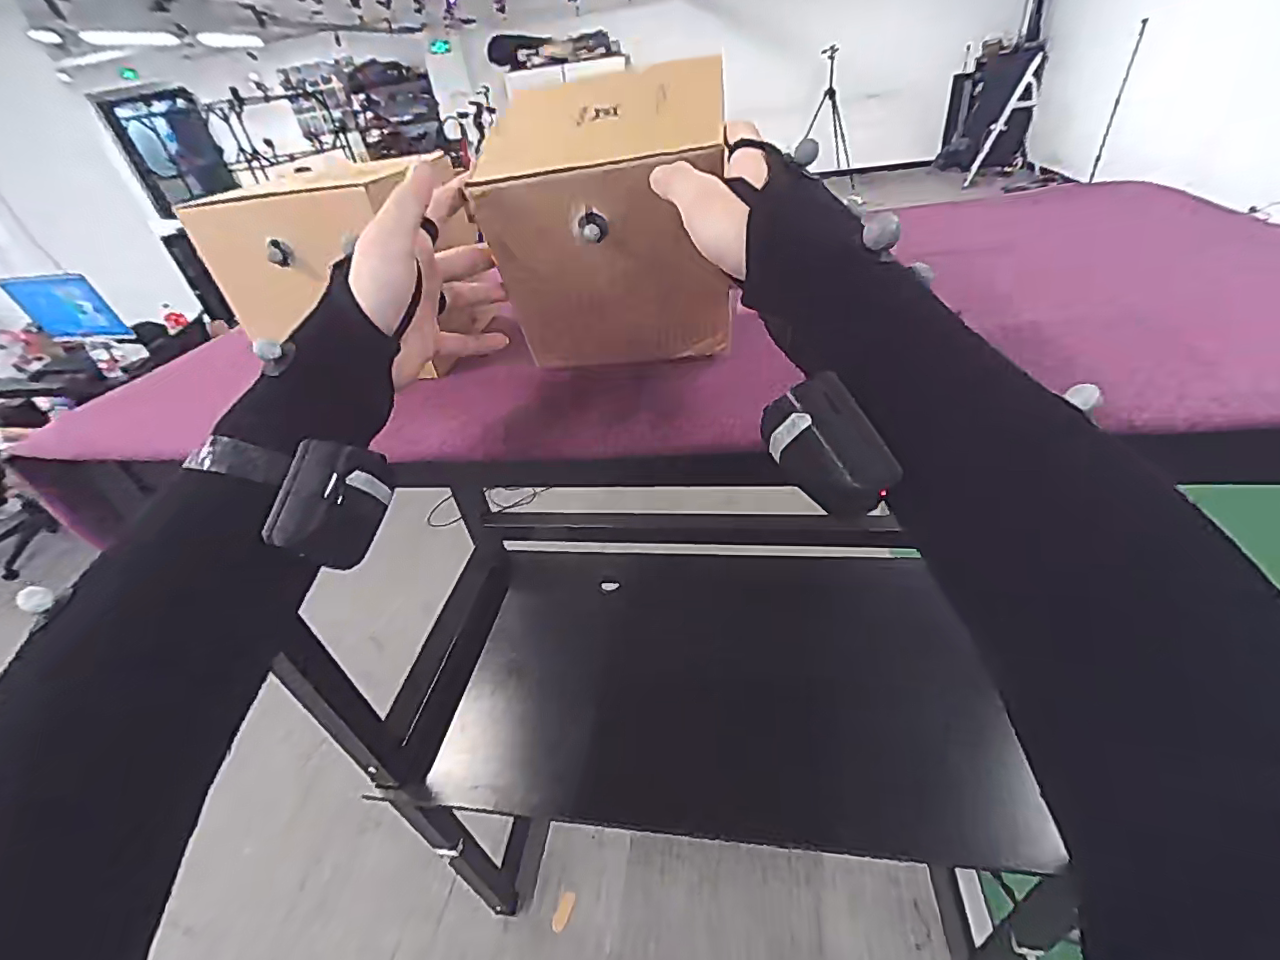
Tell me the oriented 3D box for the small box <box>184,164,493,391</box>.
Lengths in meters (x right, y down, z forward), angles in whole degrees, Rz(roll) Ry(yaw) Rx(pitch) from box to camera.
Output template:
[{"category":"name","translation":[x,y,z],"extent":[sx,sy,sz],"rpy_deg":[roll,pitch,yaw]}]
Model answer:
[{"category":"small box","translation":[-0.275,-0.199,0.541],"extent":[0.179,0.176,0.168],"rpy_deg":[-2,38,10]}]

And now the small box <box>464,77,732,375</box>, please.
[{"category":"small box","translation":[-0.015,-0.205,0.461],"extent":[0.179,0.176,0.168],"rpy_deg":[-2,52,11]}]
